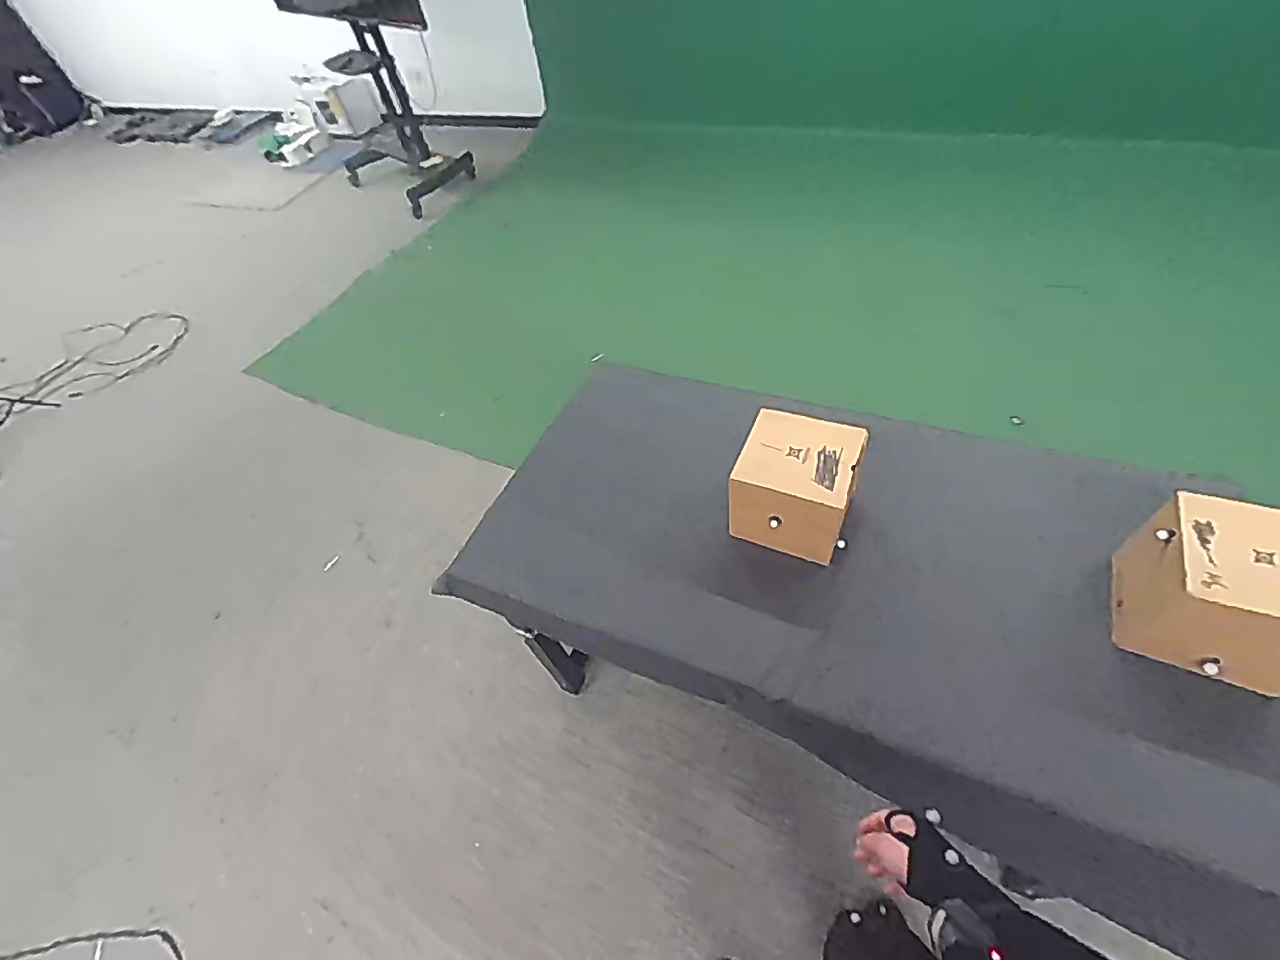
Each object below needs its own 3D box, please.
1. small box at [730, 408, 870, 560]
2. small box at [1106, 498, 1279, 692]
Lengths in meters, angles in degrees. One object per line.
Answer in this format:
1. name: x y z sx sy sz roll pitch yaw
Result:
1. small box: 0.260 0.011 0.902 0.179 0.176 0.168 17 55 21
2. small box: 0.766 0.156 0.711 0.179 0.176 0.168 18 56 21
